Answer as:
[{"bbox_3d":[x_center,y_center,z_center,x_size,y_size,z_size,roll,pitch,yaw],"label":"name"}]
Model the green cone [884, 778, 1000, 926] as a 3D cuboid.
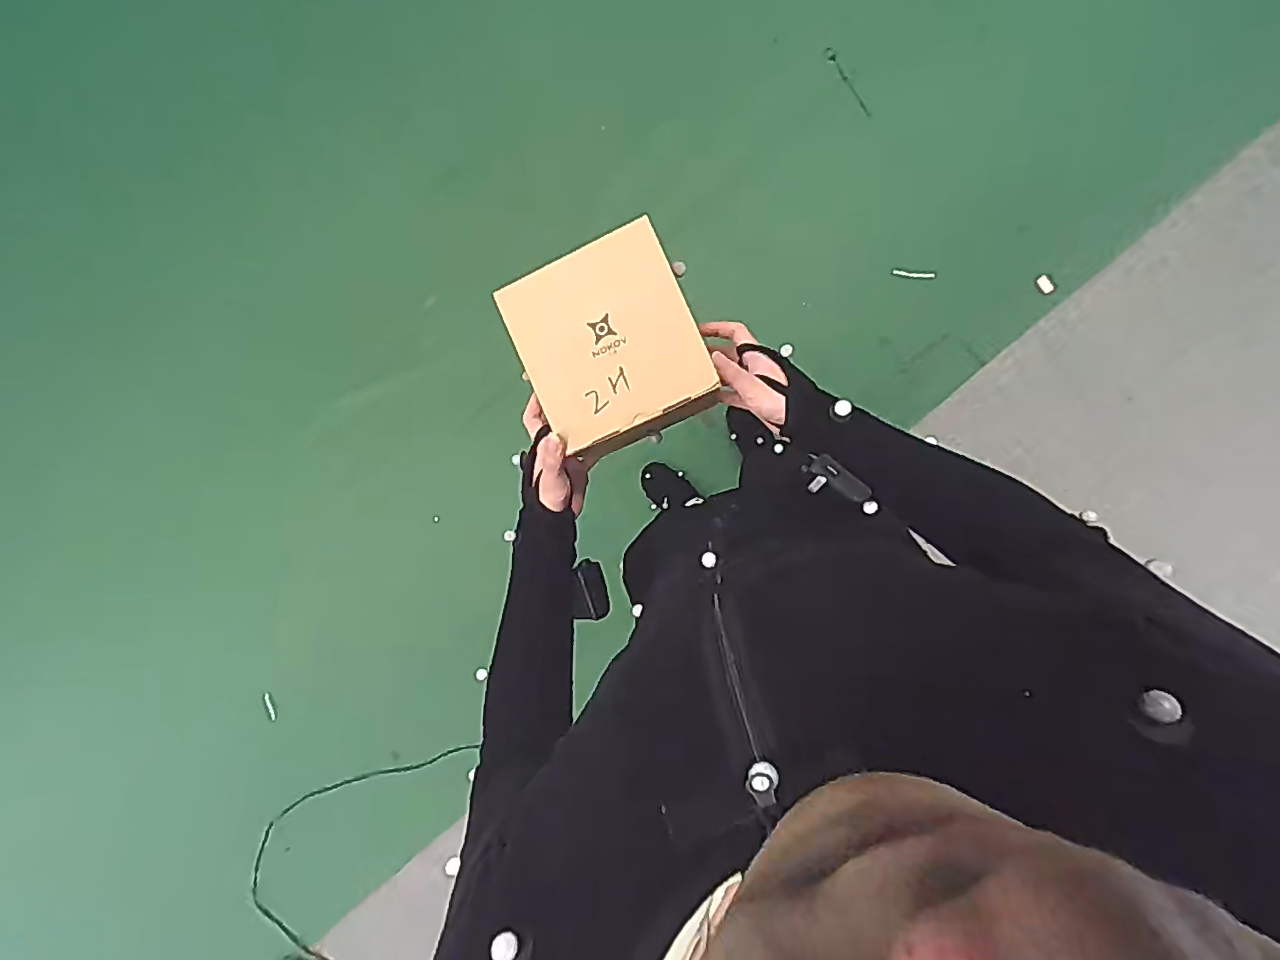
[{"bbox_3d":[0.880,1.063,1.511,0.202,0.368,0.200,-42,91,5],"label":"green cone"}]
